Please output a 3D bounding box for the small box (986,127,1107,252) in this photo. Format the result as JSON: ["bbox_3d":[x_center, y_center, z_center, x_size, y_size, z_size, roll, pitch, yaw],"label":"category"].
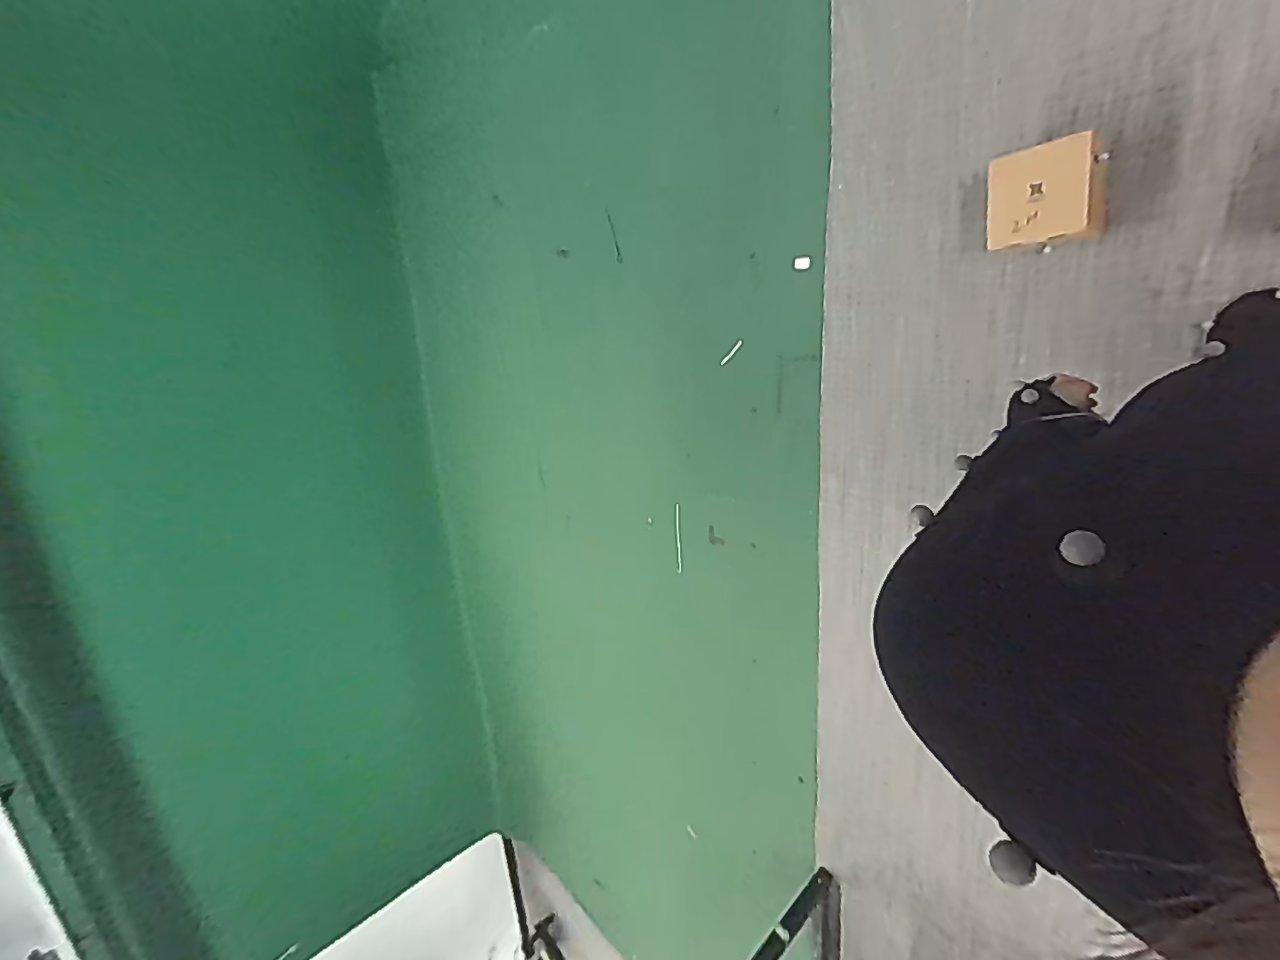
[{"bbox_3d":[0.823,-0.574,1.095,0.168,0.176,0.179,7,108,48],"label":"small box"}]
